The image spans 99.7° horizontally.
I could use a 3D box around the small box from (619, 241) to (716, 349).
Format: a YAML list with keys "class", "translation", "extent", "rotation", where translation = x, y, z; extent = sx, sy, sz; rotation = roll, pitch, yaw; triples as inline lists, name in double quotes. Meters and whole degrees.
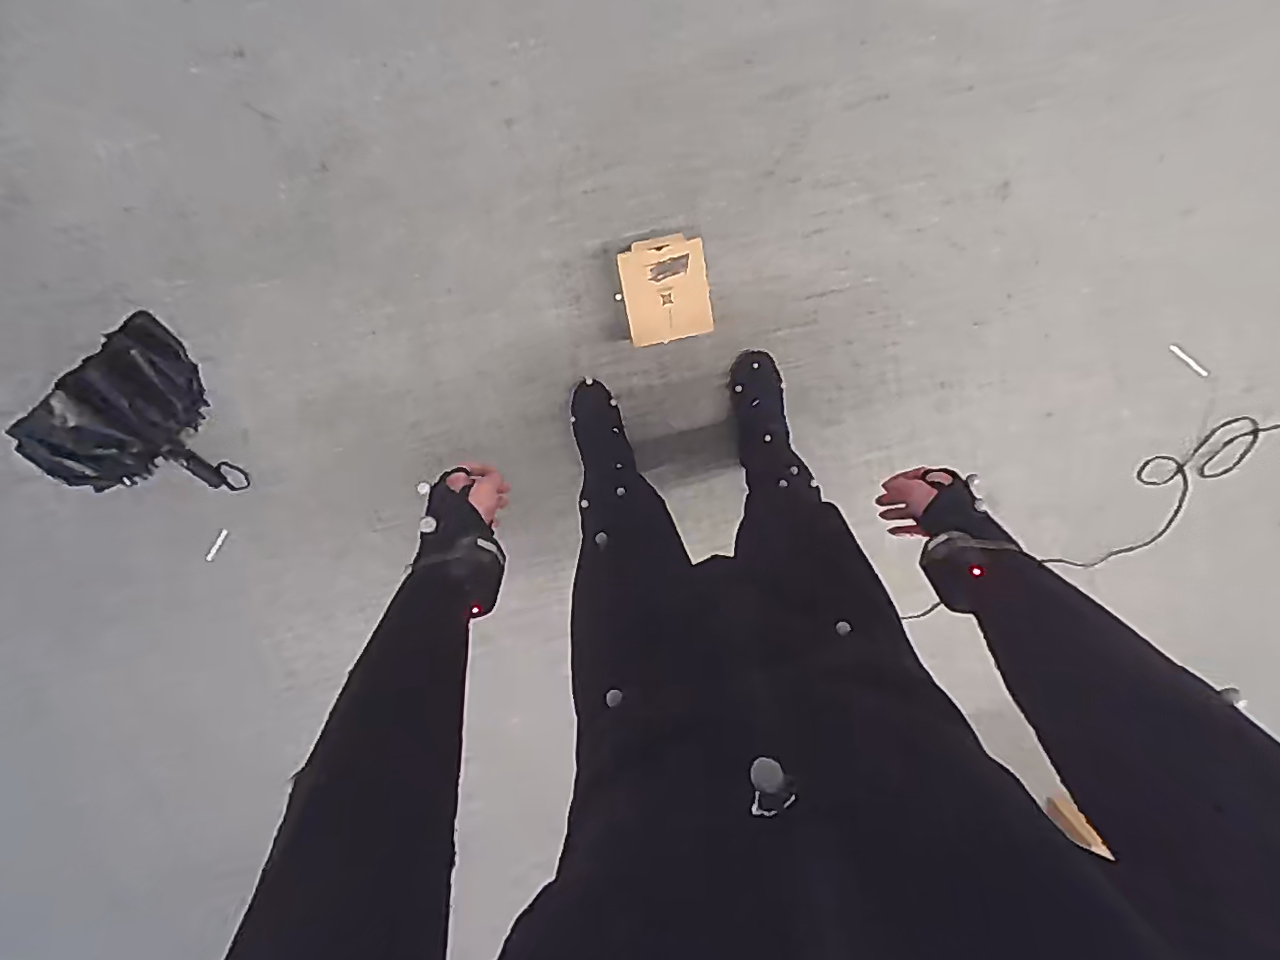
- class: "small box"
  translation: [0.052, -0.378, 1.115]
  extent: [0.168, 0.176, 0.179]
  rotation: [-12, 110, 1]
